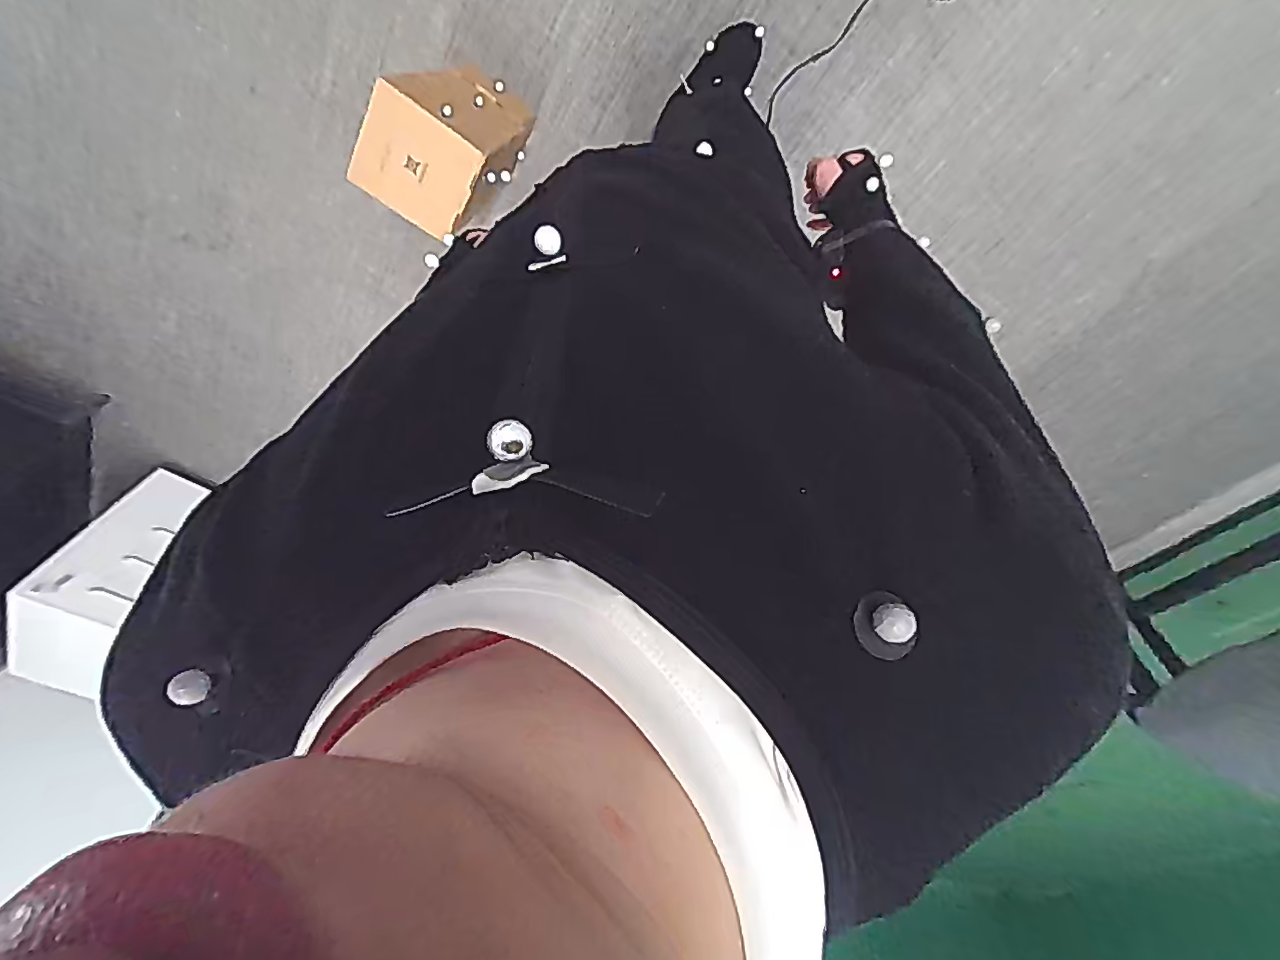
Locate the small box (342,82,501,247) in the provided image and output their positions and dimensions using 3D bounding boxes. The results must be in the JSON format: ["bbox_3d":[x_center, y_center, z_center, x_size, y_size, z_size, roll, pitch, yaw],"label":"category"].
[{"bbox_3d":[-0.358,-0.537,0.913,0.179,0.176,0.168,31,124,-20],"label":"small box"}]

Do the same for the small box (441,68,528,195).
[{"bbox_3d":[-0.359,-0.759,1.179,0.168,0.176,0.179,28,126,-20],"label":"small box"}]

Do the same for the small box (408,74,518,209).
[{"bbox_3d":[-0.361,-0.637,1.038,0.179,0.176,0.168,32,126,-21],"label":"small box"}]
